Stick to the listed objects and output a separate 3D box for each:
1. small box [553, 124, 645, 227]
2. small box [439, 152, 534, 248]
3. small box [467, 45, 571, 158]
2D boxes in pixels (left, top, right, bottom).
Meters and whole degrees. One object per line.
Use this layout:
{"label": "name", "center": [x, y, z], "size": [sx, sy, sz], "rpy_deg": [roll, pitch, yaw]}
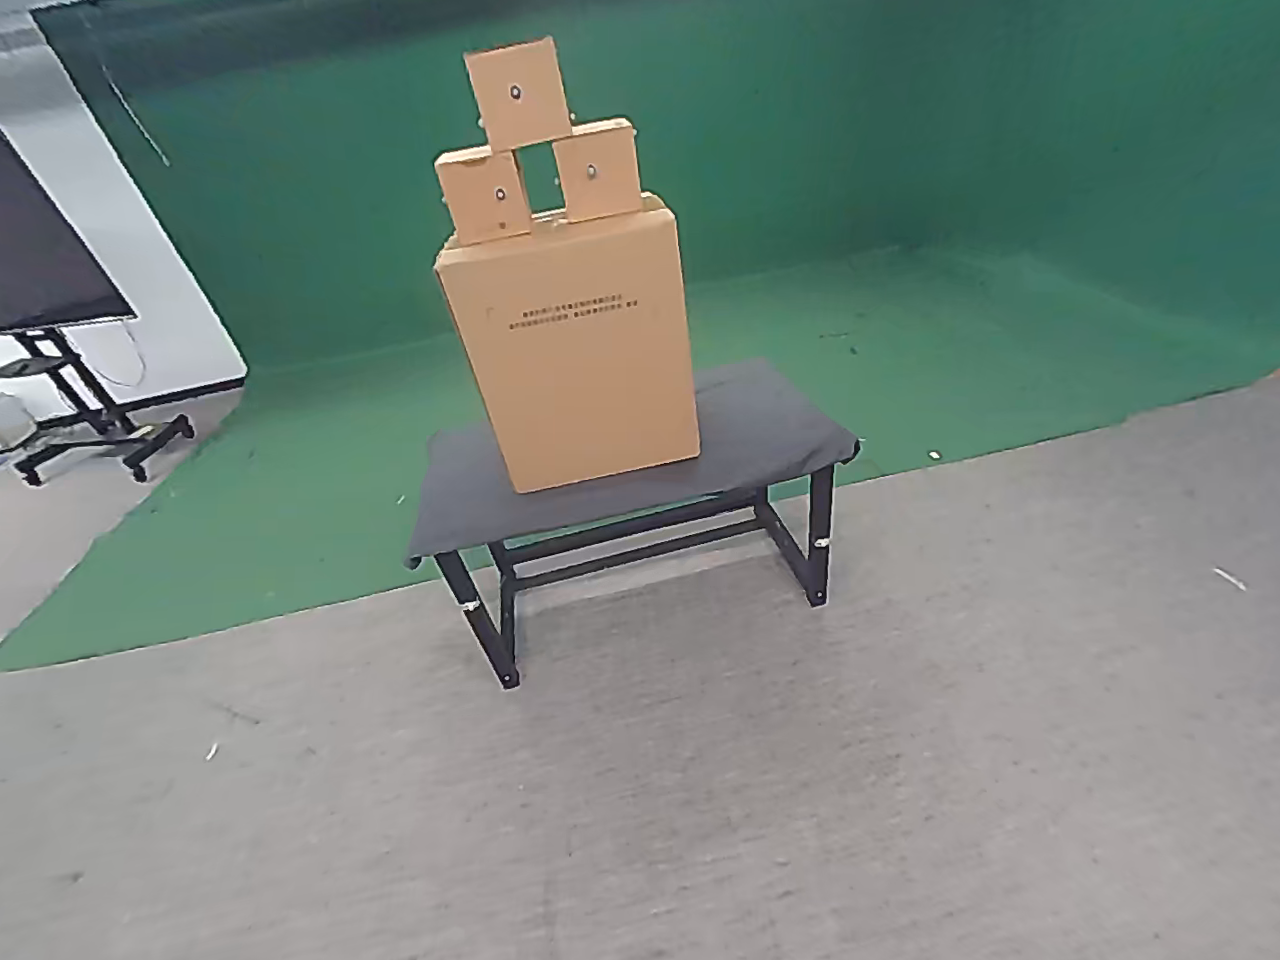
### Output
{"label": "small box", "center": [-0.096, -0.705, 1.257], "size": [0.179, 0.176, 0.168], "rpy_deg": [-12, 39, 0]}
{"label": "small box", "center": [-0.346, -0.649, 1.251], "size": [0.168, 0.176, 0.179], "rpy_deg": [-11, 37, -3]}
{"label": "small box", "center": [-0.248, -0.804, 1.152], "size": [0.179, 0.176, 0.168], "rpy_deg": [-14, 38, -1]}
